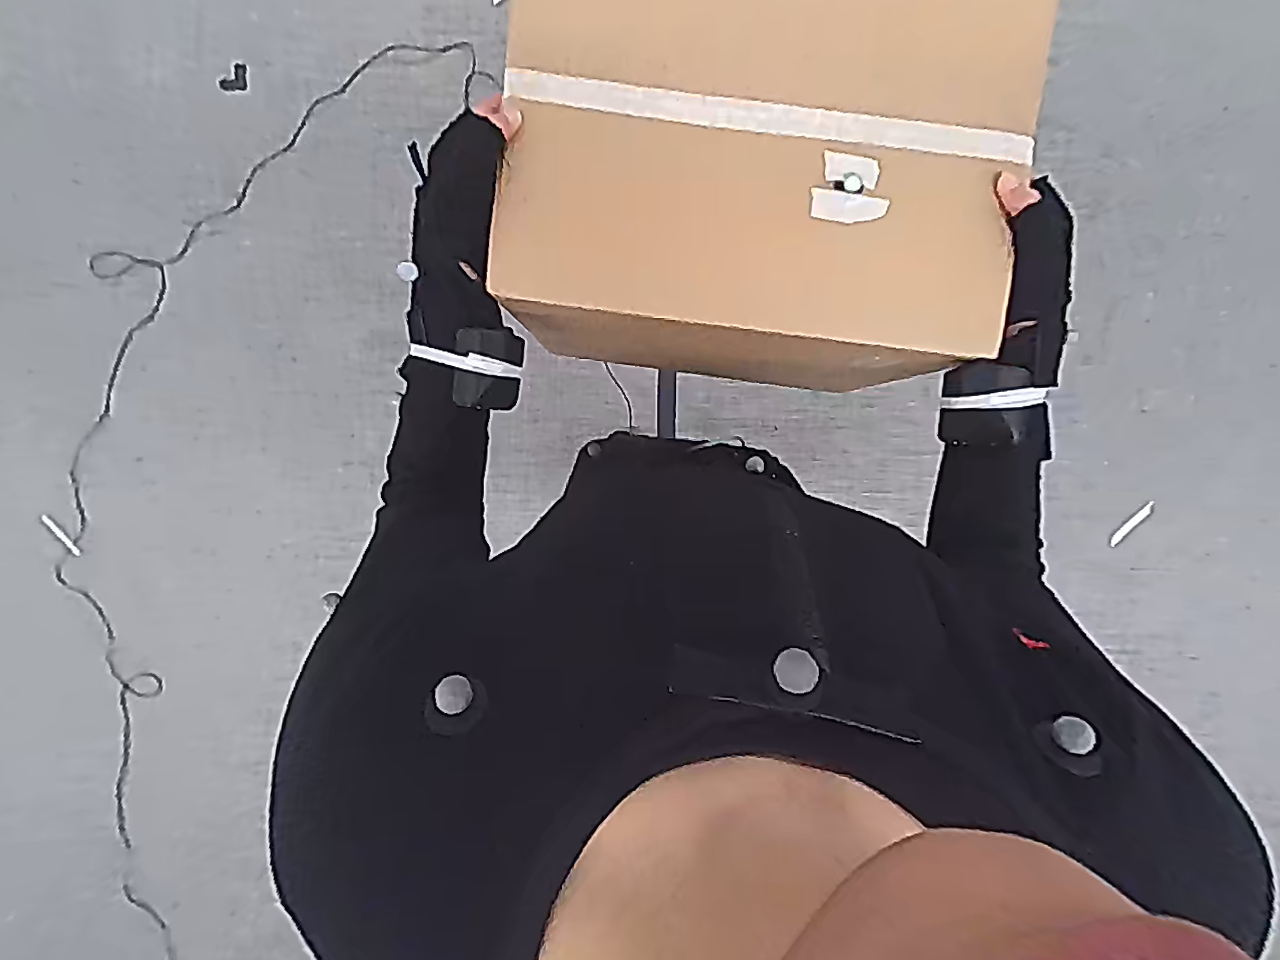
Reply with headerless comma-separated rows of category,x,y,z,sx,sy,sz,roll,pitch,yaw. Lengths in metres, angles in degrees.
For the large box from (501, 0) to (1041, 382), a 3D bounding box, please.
large box,0.097,-0.293,0.572,0.408,0.320,0.320,7,95,-2
